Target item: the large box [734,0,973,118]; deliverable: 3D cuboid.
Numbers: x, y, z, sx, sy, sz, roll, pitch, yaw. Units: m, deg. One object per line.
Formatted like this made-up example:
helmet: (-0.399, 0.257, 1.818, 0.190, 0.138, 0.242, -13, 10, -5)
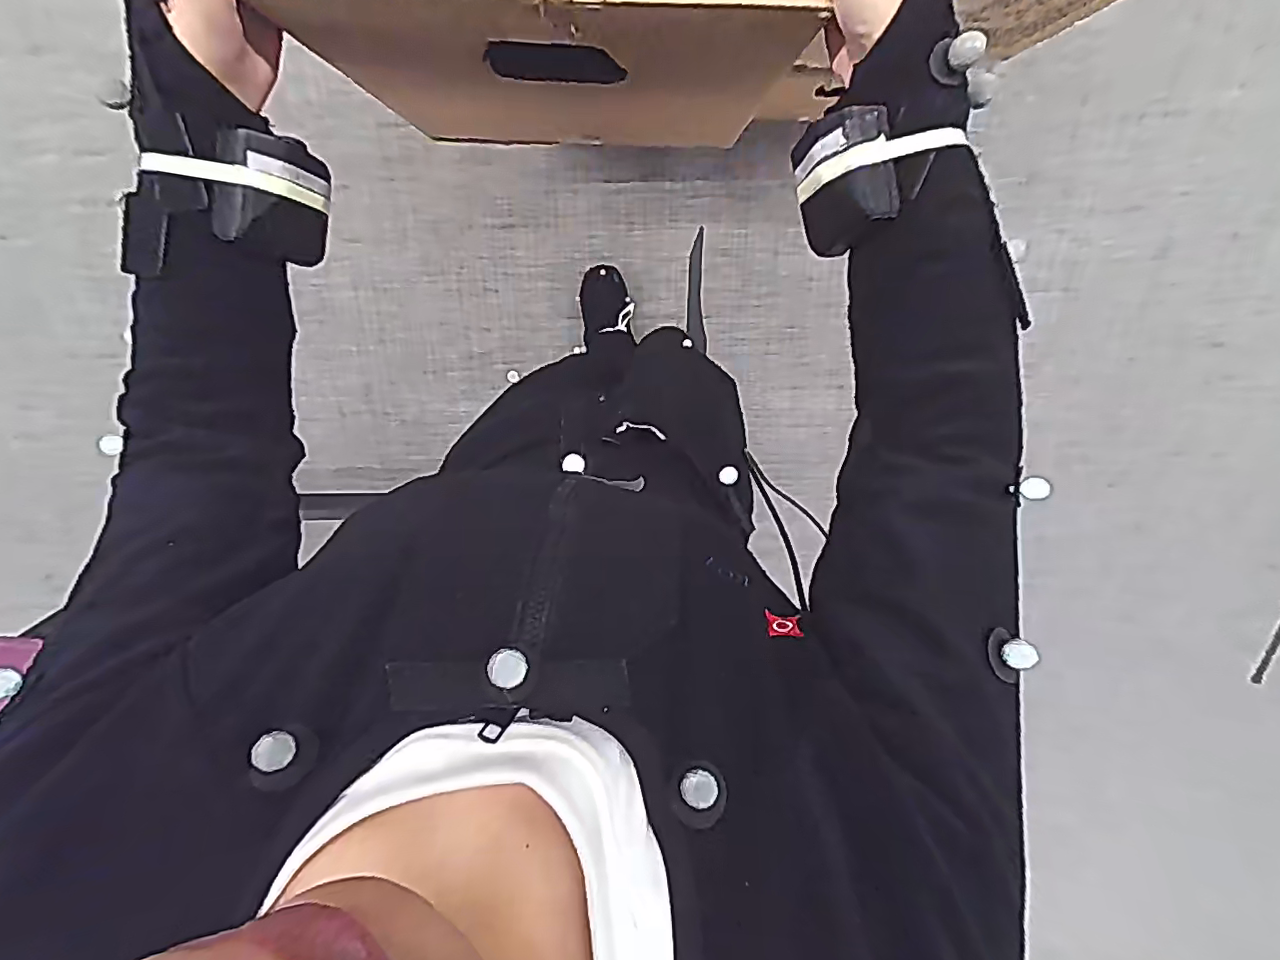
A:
large box: (0.340, -0.875, 0.902, 0.320, 0.320, 0.408, -2, 114, 0)
